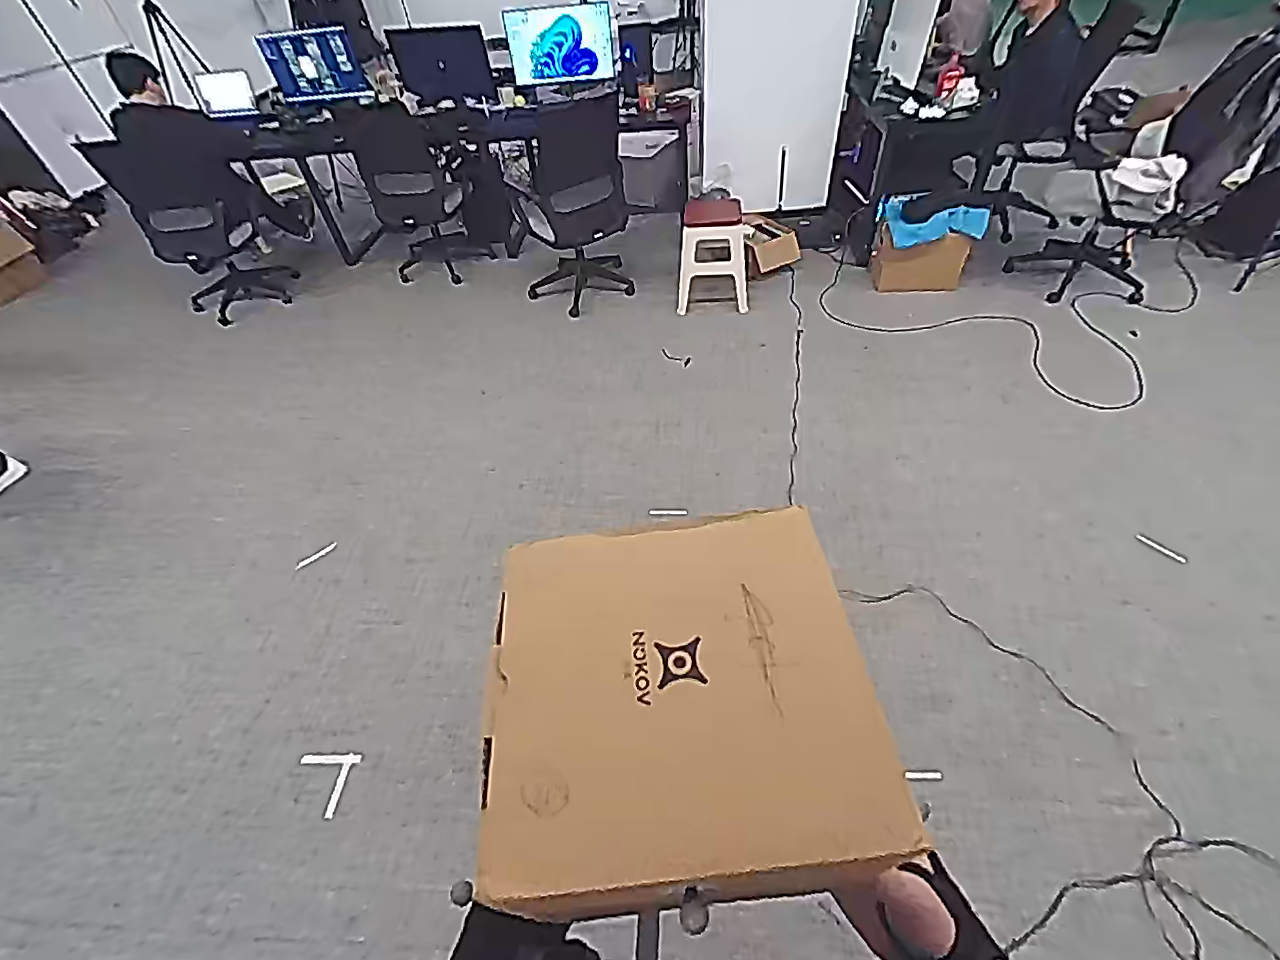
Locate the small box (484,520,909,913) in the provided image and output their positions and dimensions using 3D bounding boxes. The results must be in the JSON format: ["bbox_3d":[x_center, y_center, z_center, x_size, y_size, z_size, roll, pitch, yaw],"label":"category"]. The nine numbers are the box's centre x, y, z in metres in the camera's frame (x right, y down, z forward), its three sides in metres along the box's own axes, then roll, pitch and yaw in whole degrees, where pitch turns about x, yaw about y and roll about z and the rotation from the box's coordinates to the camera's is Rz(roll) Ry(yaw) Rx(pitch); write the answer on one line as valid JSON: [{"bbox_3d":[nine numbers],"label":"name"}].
[{"bbox_3d":[0.025,0.147,0.326,0.179,0.176,0.168,-7,49,1],"label":"small box"}]
